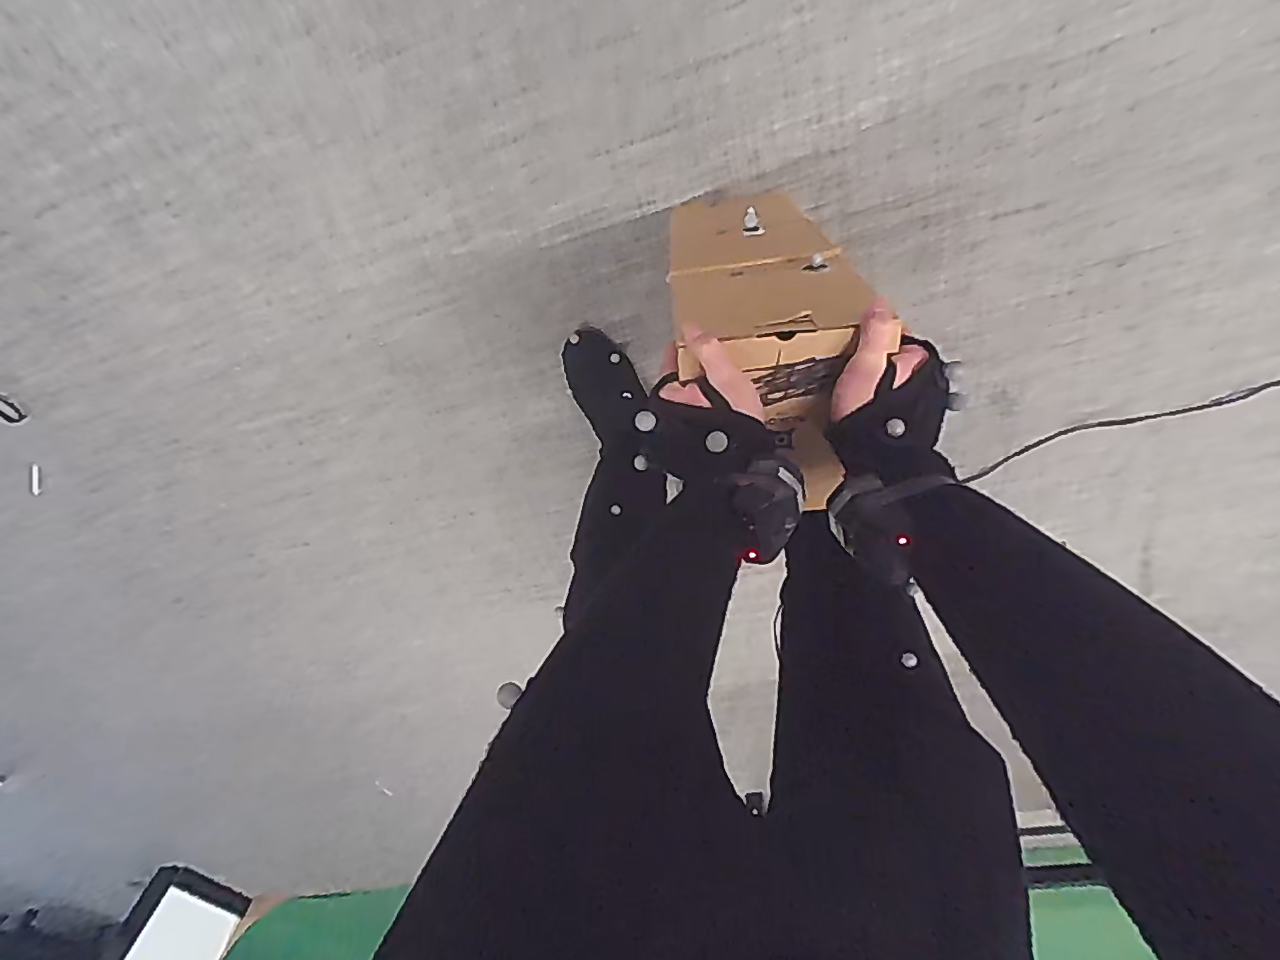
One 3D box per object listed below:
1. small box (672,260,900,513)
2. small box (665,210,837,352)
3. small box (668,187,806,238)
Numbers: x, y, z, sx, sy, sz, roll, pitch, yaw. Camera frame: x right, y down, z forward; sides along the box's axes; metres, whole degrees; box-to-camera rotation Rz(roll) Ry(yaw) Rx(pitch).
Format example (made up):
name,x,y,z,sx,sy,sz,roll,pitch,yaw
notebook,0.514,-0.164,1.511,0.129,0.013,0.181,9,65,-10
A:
name,x,y,z,sx,sy,sz,roll,pitch,yaw
small box,0.118,-0.093,0.505,0.168,0.176,0.179,-4,129,6
small box,0.122,-0.194,0.631,0.168,0.176,0.179,-6,126,7
small box,0.131,-0.291,0.758,0.168,0.176,0.179,-4,127,8
